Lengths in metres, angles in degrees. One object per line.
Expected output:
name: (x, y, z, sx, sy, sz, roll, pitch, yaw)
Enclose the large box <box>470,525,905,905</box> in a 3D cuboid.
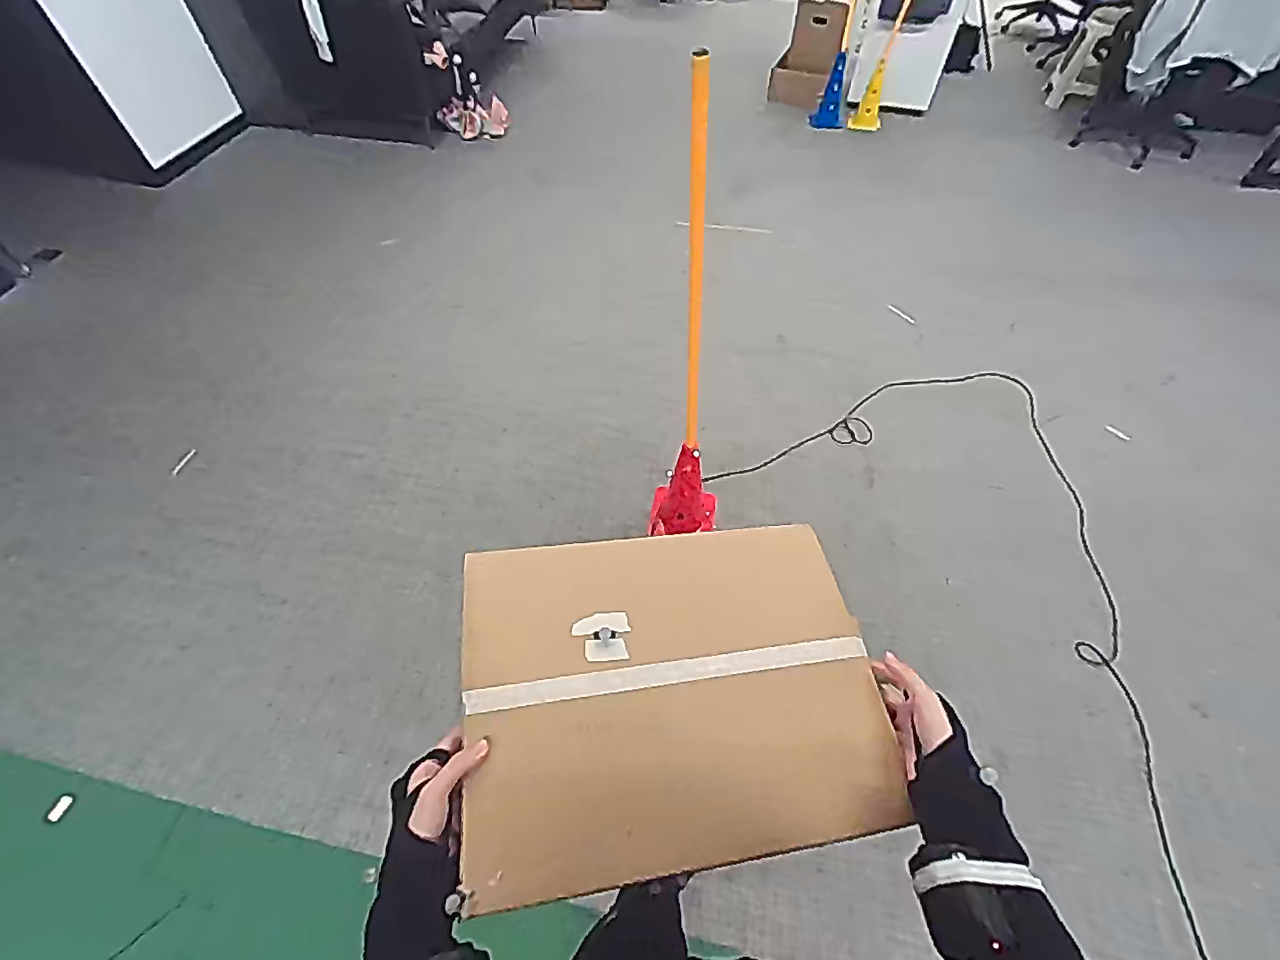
large box: (0.019, 0.281, 0.674, 0.408, 0.320, 0.320, -5, 56, -10)
